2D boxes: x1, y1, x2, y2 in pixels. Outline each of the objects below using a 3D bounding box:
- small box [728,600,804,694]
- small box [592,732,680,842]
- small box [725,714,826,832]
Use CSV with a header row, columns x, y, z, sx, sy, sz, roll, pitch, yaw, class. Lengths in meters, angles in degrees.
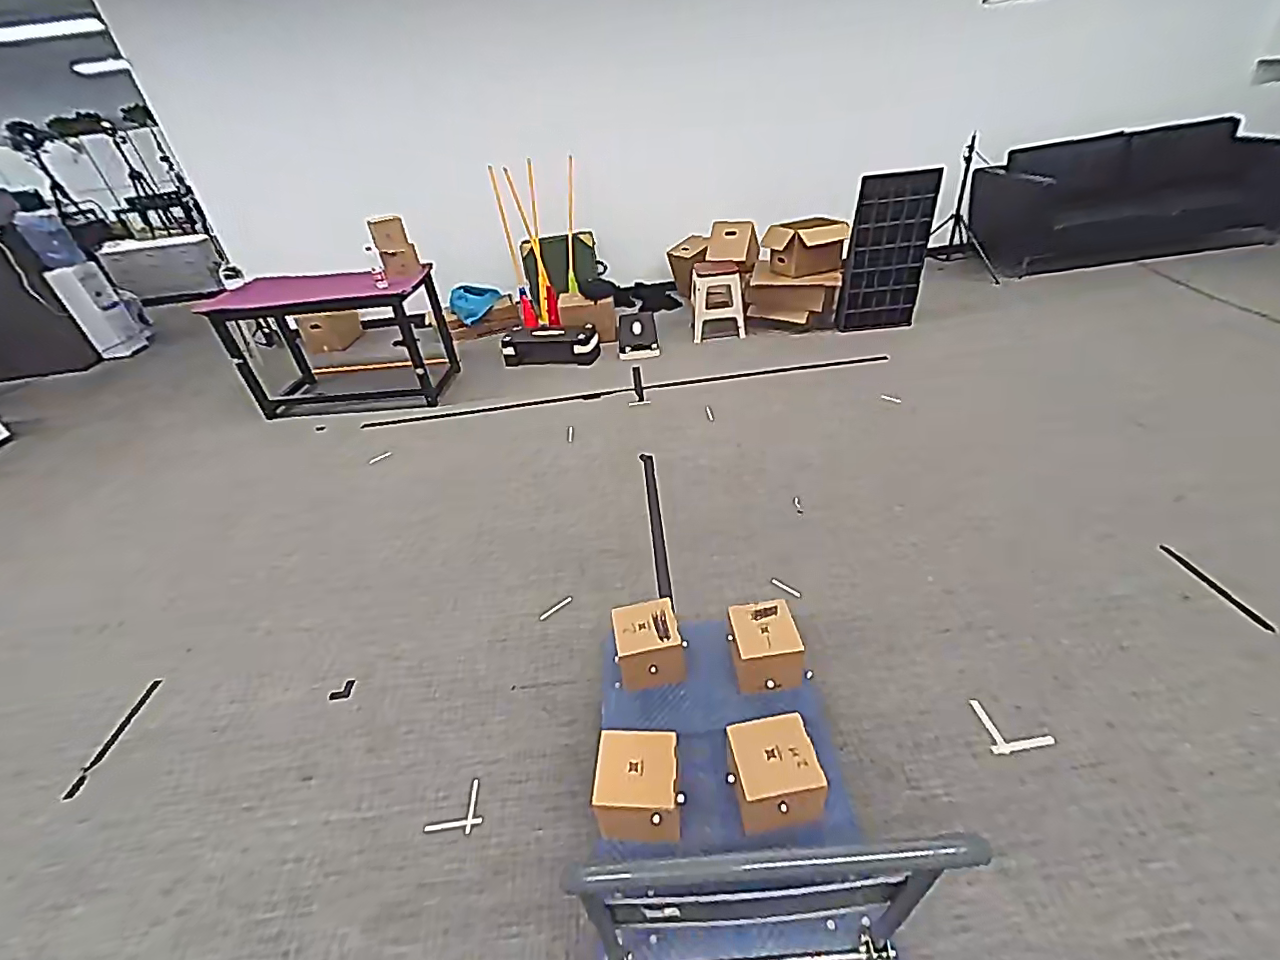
x,y,z,sx,sy,sz,roll,pitch,yaw,class
0.338,0.459,1.487,0.168,0.176,0.179,-8,37,0,small box
-0.002,0.696,1.226,0.179,0.176,0.168,-2,36,6,small box
0.299,0.662,1.218,0.179,0.176,0.168,-10,36,-3,small box
